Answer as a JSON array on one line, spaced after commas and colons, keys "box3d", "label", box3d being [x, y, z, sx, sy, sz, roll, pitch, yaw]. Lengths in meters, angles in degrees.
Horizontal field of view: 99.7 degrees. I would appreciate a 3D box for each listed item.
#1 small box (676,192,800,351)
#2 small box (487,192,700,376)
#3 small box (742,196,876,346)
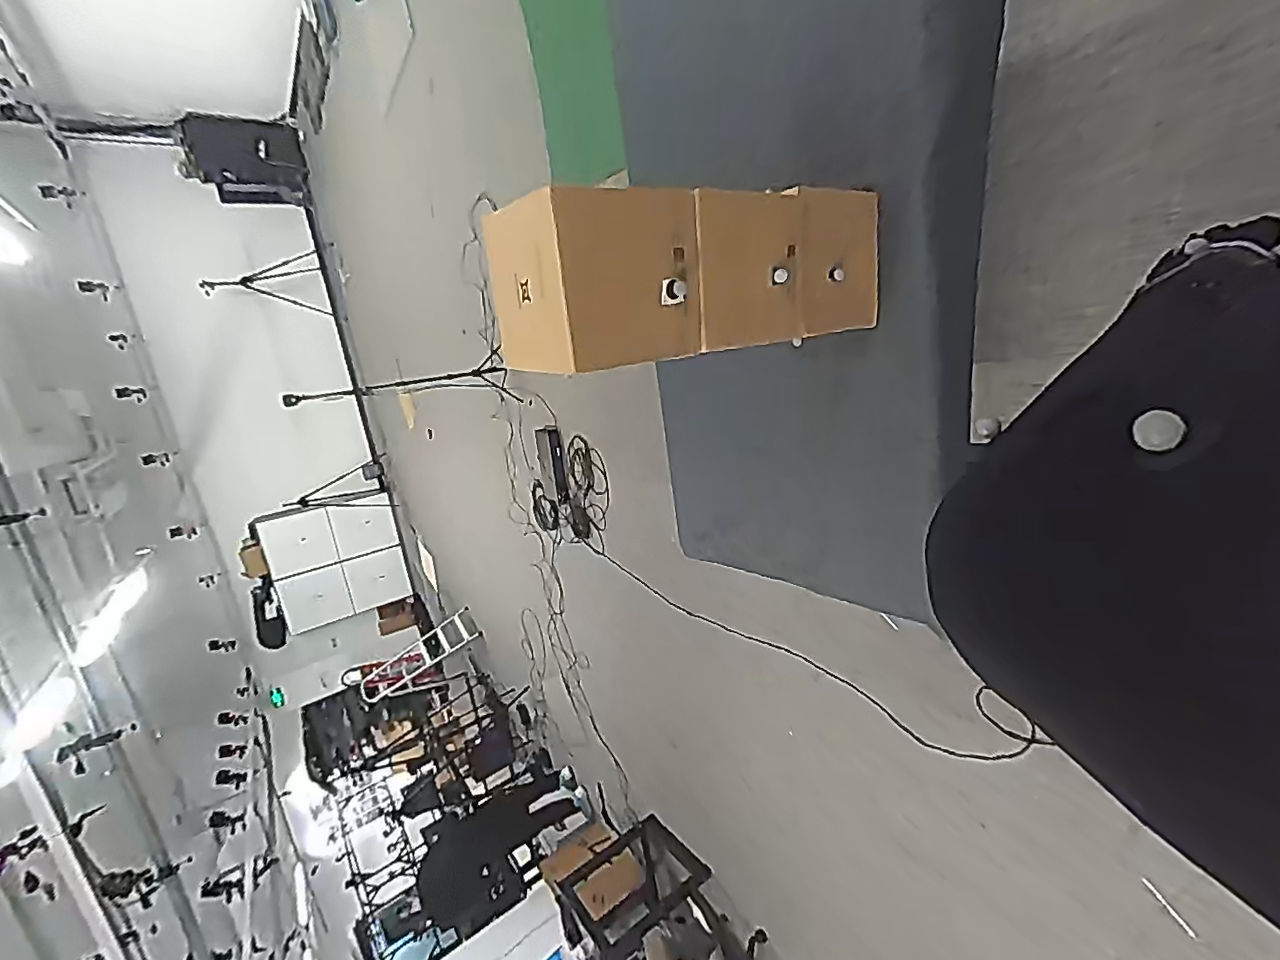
[{"box3d": [0.082, -0.256, 0.695, 0.179, 0.176, 0.168, 16, 117, 56], "label": "small box"}, {"box3d": [-0.051, -0.215, 0.613, 0.179, 0.176, 0.168, 18, 120, 52], "label": "small box"}, {"box3d": [0.219, -0.295, 0.778, 0.168, 0.176, 0.179, 15, 117, 54], "label": "small box"}]
